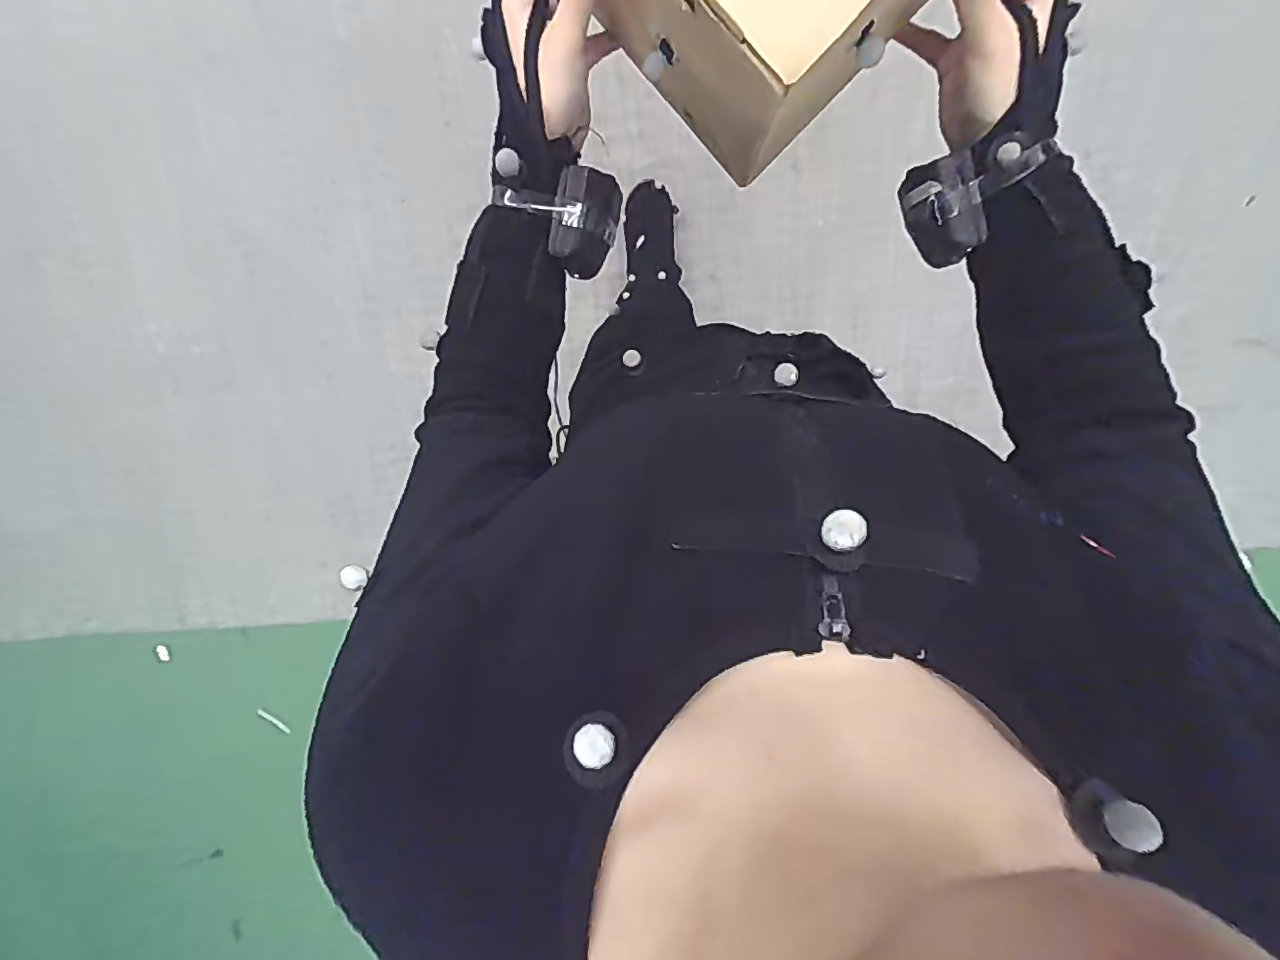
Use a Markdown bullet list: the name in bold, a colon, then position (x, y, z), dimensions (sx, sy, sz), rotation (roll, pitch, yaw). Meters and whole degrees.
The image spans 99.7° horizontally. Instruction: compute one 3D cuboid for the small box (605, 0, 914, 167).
- **small box**: position (0.075, -0.321, 0.304), dimensions (0.179, 0.176, 0.168), rotation (-43, 98, 15)
